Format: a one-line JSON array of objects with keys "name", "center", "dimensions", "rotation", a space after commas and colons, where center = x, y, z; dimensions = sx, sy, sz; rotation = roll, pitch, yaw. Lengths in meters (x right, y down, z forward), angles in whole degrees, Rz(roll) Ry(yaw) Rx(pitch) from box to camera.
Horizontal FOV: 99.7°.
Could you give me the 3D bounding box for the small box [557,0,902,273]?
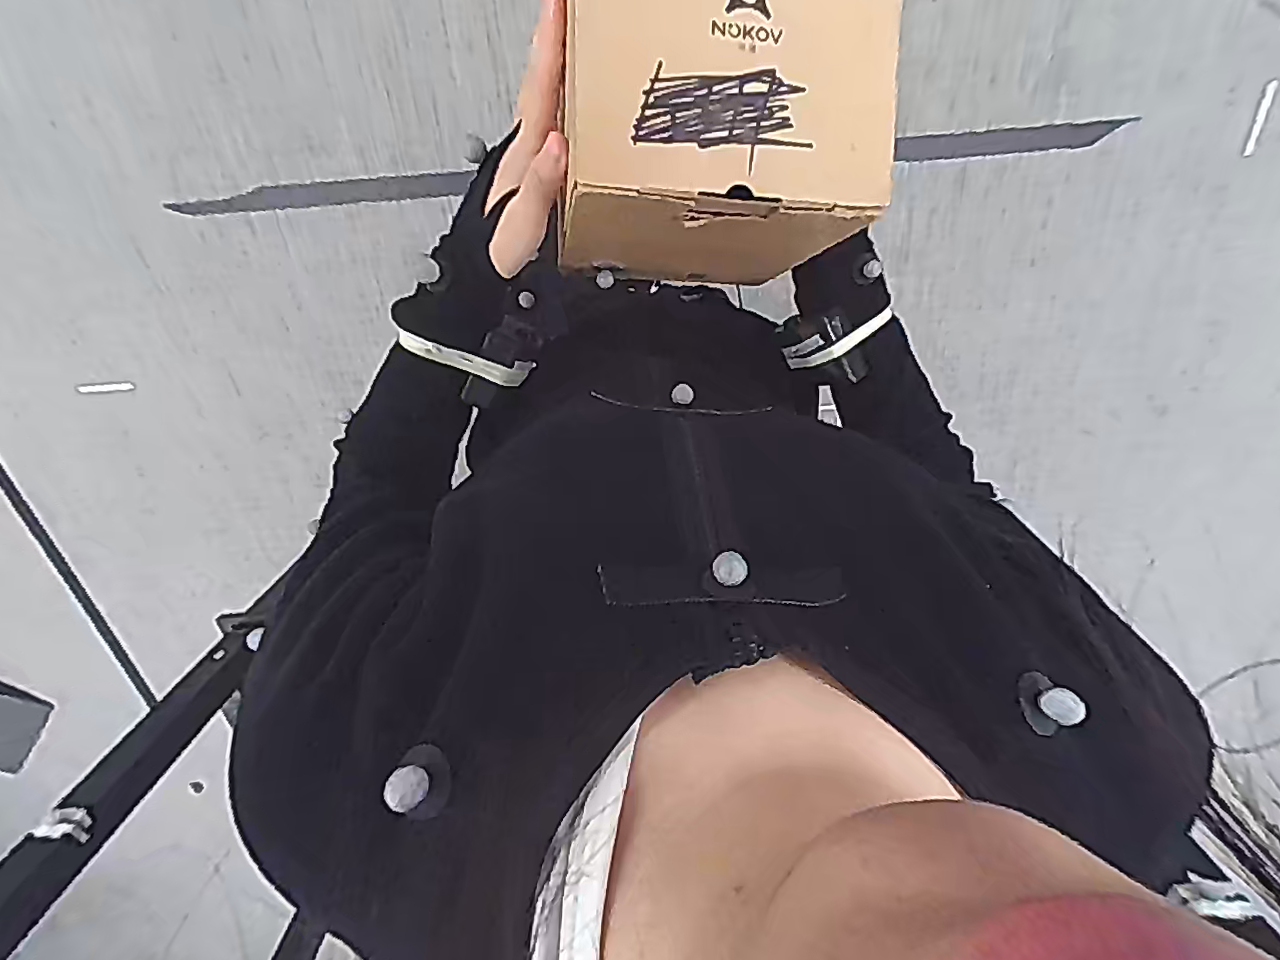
[{"name": "small box", "center": [0.036, -0.239, 0.336], "dimensions": [0.168, 0.176, 0.179], "rotation": [-1, 97, -11]}]
